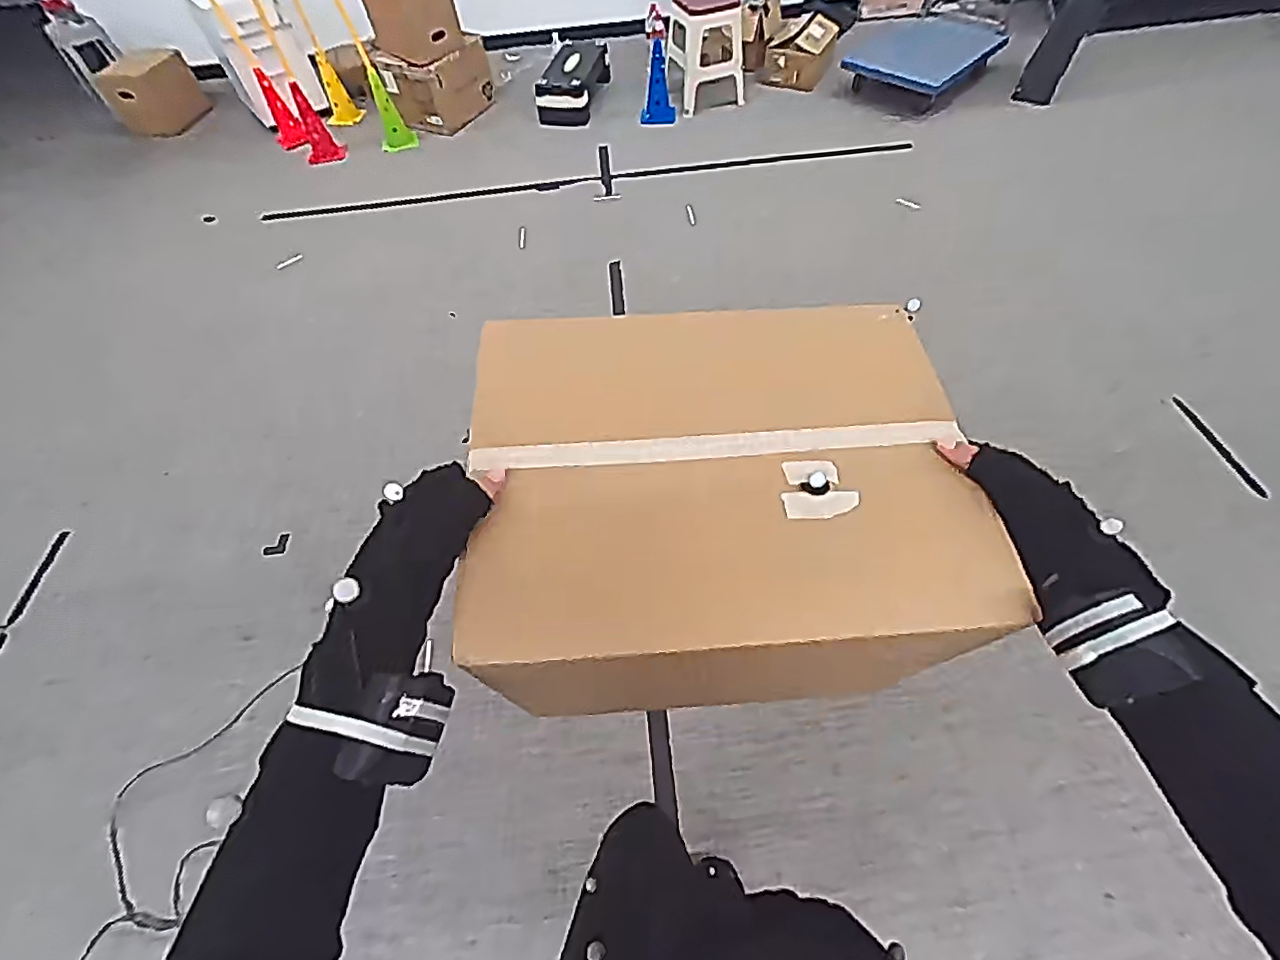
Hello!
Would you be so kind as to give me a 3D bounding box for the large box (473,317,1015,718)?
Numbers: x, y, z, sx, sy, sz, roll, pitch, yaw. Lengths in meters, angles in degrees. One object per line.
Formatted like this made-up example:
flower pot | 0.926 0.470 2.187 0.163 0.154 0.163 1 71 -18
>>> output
large box | 0.063 0.056 0.586 0.408 0.320 0.320 -4 60 -3
